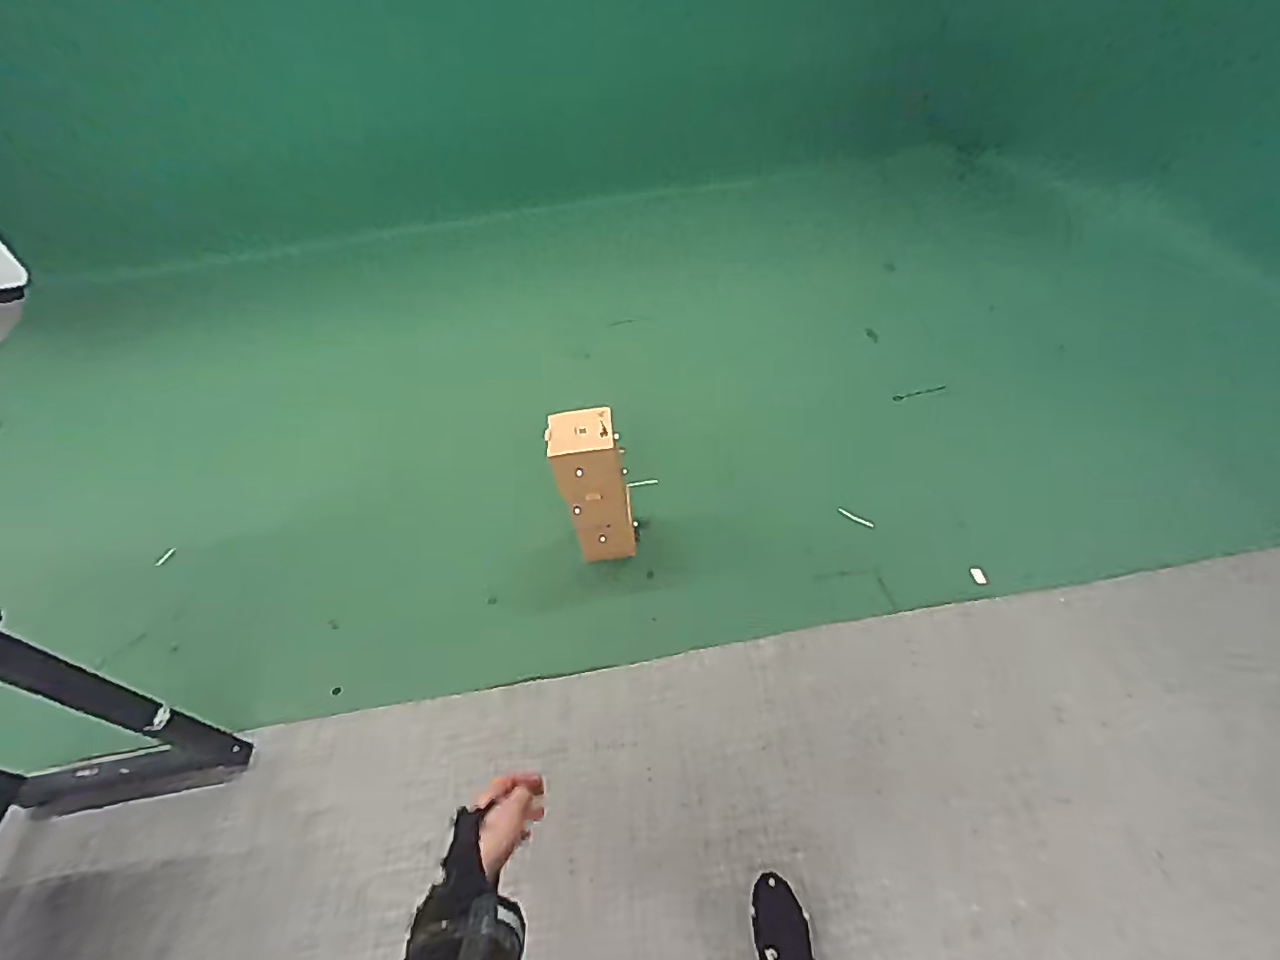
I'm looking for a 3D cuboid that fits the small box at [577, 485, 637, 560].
[{"bbox_3d":[-0.103,0.139,1.738,0.179,0.176,0.168,-7,49,1],"label":"small box"}]

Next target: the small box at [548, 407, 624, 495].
[{"bbox_3d":[-0.146,-0.076,1.493,0.179,0.176,0.168,-8,48,1],"label":"small box"}]
